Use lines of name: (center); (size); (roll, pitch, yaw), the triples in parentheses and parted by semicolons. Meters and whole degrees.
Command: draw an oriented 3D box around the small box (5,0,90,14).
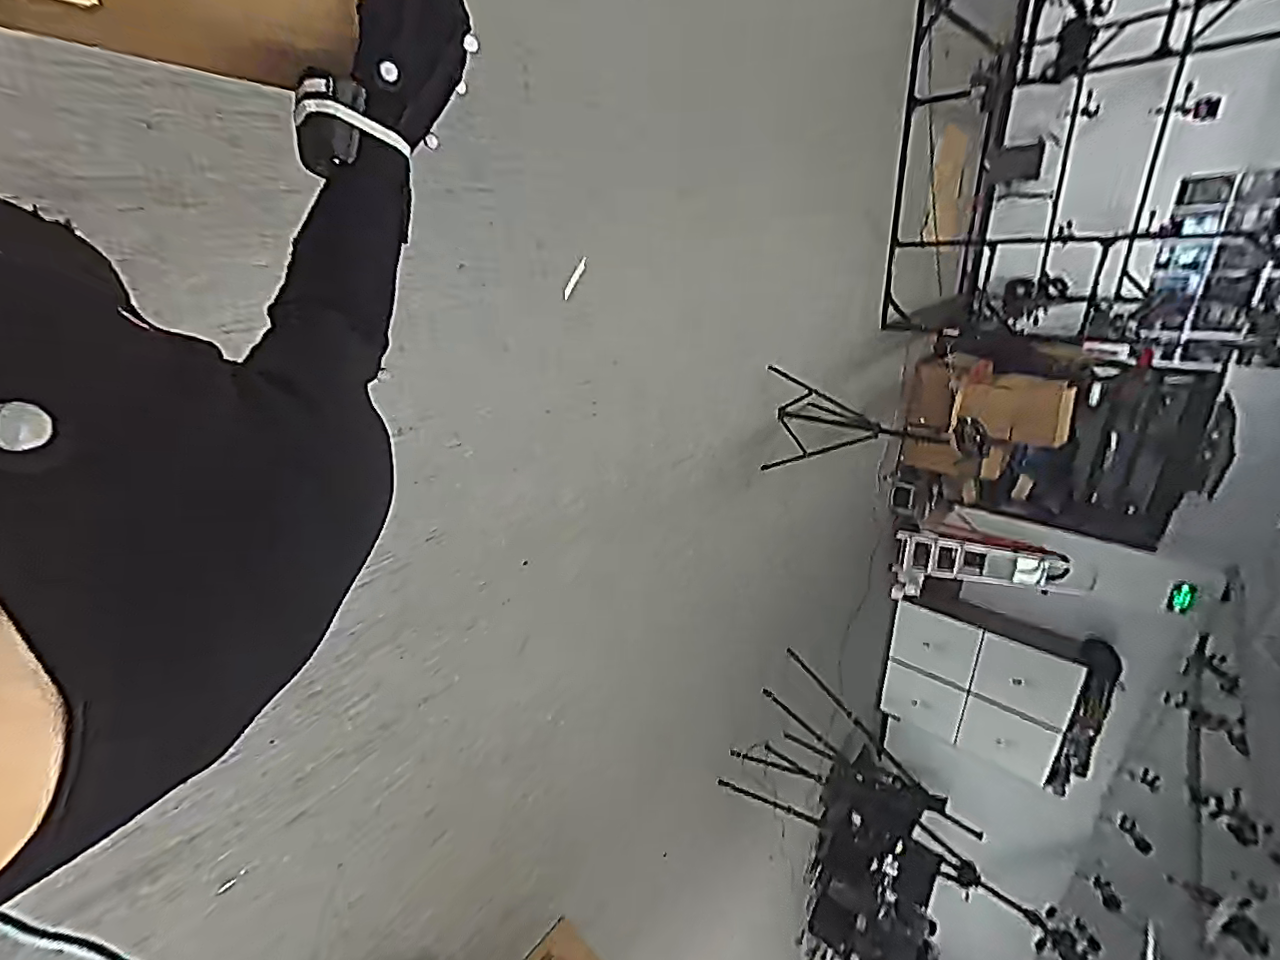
small box: (-0.421, -0.339, 0.236); (0.179, 0.176, 0.168); (-42, 149, -51)
